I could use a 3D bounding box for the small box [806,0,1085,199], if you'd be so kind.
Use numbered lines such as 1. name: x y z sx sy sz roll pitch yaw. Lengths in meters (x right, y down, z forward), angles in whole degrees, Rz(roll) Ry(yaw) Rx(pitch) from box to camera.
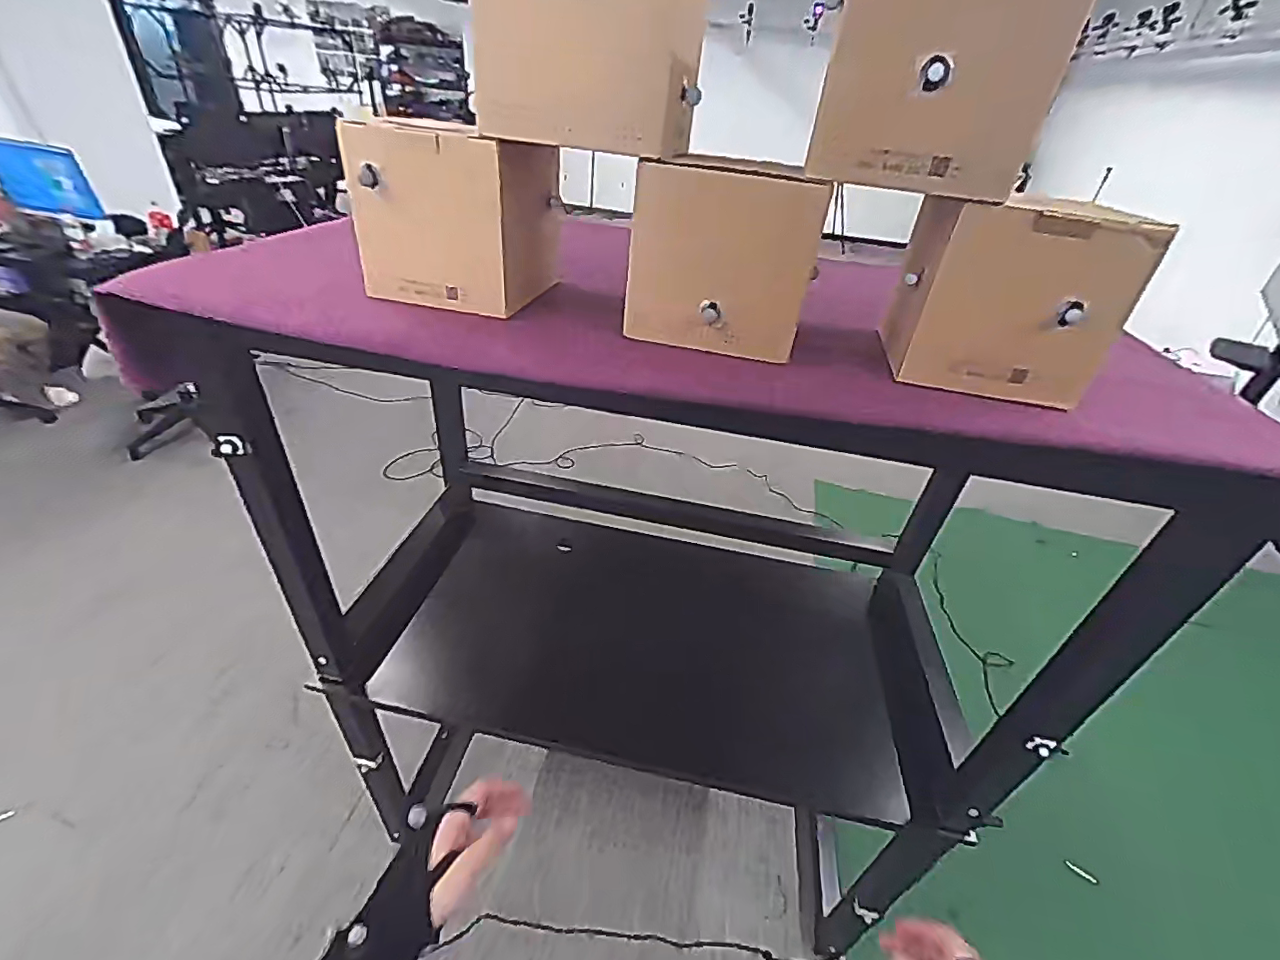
1. small box: 0.250 -0.354 0.474 0.168 0.176 0.179 13 35 9

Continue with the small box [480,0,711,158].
1. small box: -0.037 -0.406 0.501 0.179 0.176 0.168 12 35 7

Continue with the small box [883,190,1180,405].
1. small box: 0.363 -0.193 0.549 0.168 0.176 0.179 13 34 10
